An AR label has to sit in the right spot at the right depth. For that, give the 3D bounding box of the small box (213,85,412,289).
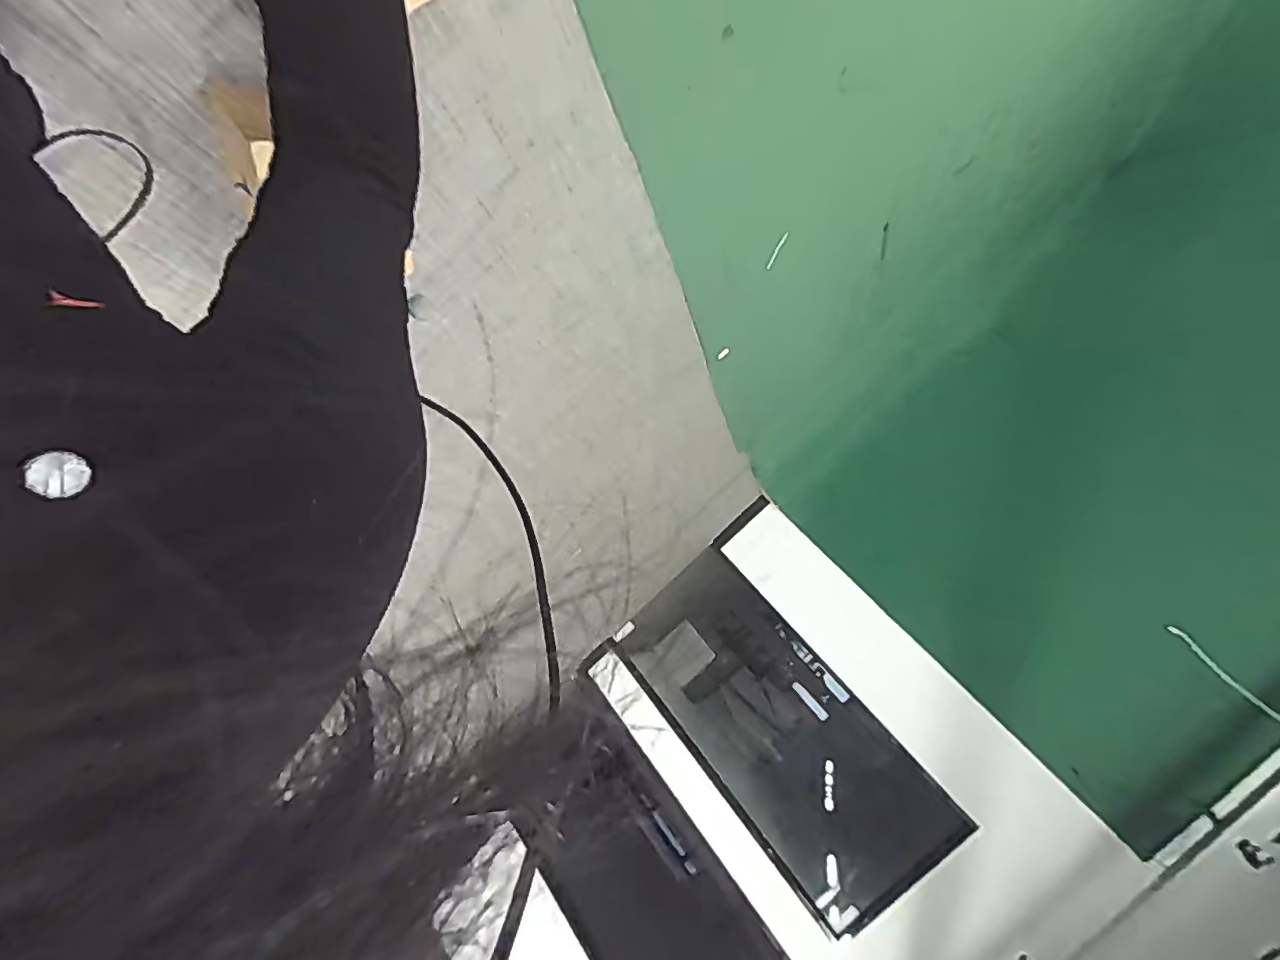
[{"bbox_3d":[-0.418,-0.380,0.708,0.168,0.176,0.179,-24,149,-35],"label":"small box"}]
